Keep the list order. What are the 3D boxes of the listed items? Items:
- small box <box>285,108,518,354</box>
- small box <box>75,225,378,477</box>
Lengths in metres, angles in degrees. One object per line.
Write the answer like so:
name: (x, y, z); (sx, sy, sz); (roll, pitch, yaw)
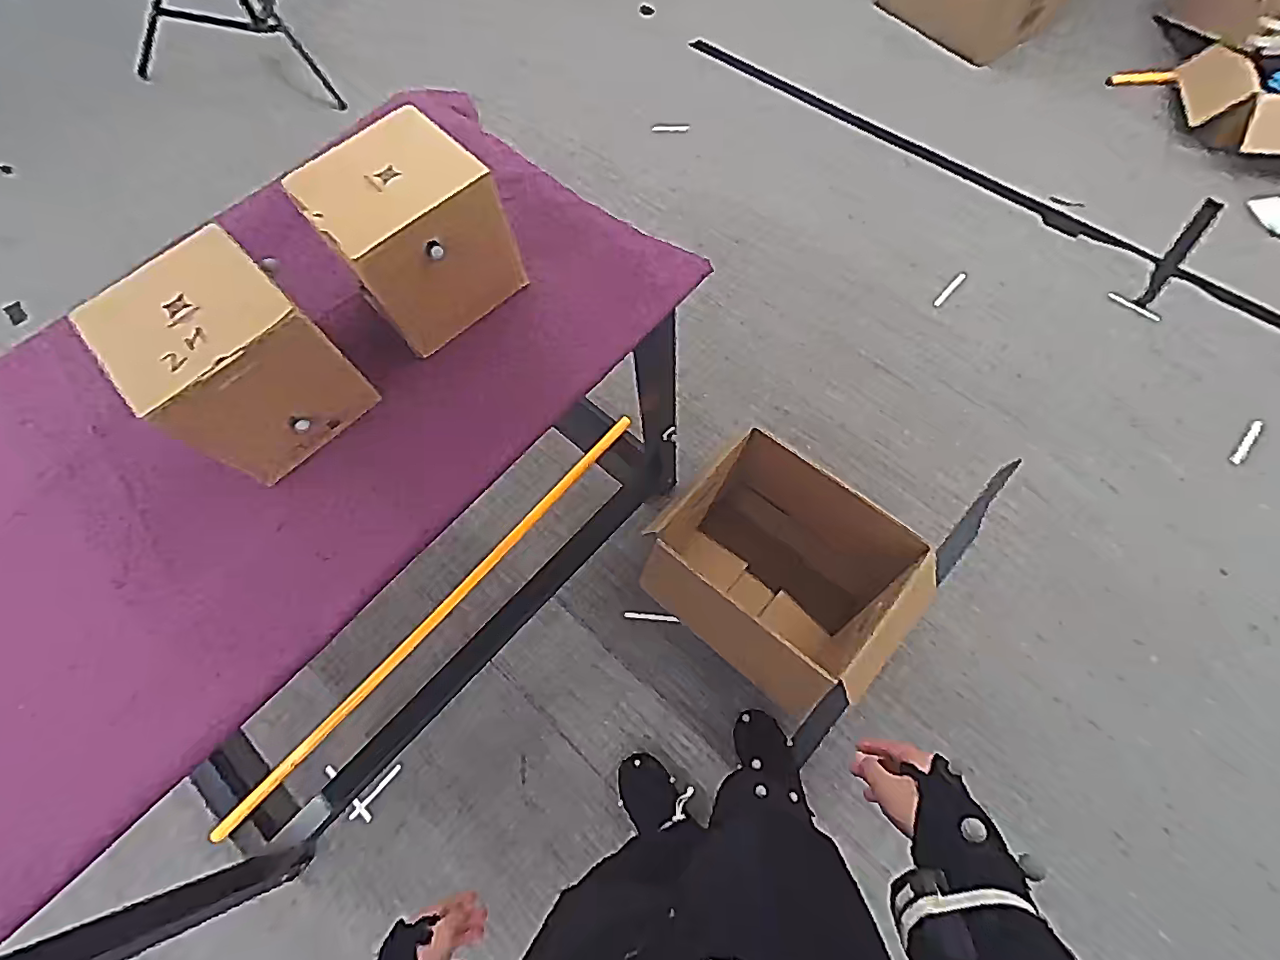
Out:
small box: (-0.268, -0.293, 0.658); (0.179, 0.176, 0.168); (-41, 70, -12)
small box: (-0.438, -0.132, 0.600); (0.168, 0.176, 0.179); (-43, 72, -13)
